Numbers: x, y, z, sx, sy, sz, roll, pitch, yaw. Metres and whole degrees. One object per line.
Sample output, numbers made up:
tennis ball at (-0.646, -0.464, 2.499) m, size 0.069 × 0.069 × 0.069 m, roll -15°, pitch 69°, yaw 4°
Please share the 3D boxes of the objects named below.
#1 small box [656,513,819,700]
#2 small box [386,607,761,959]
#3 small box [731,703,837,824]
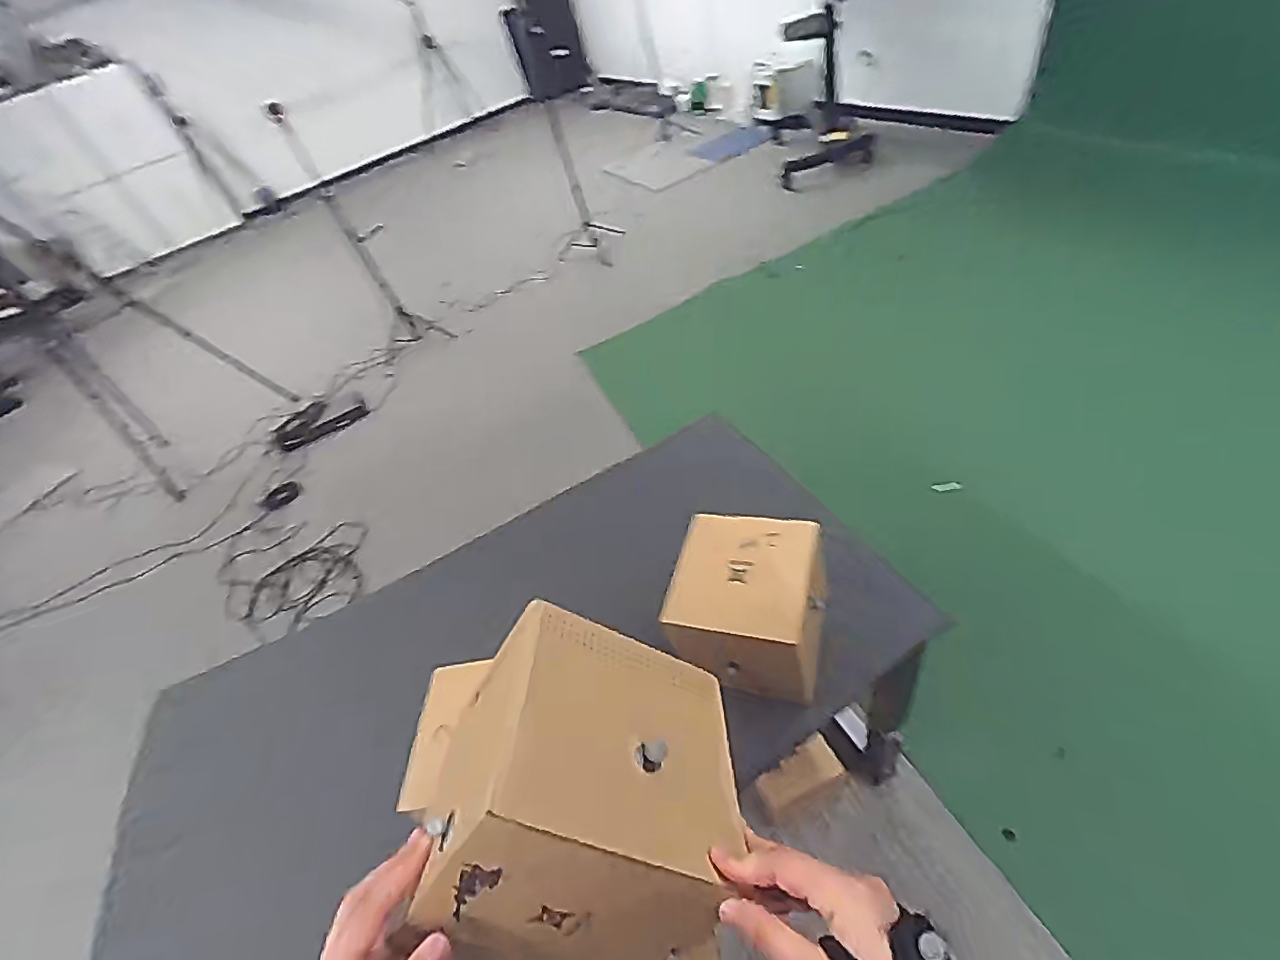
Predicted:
small box at (0.142, 0.168, 0.721) m, size 0.168 × 0.176 × 0.179 m, roll 3°, pitch 49°, yaw 25°
small box at (-0.043, 0.223, 0.393) m, size 0.168 × 0.179 × 0.176 m, roll -55°, pitch 17°, yaw 25°
small box at (0.331, 0.653, 1.236) m, size 0.179 × 0.176 × 0.168 m, roll -24°, pitch 45°, yaw -6°
